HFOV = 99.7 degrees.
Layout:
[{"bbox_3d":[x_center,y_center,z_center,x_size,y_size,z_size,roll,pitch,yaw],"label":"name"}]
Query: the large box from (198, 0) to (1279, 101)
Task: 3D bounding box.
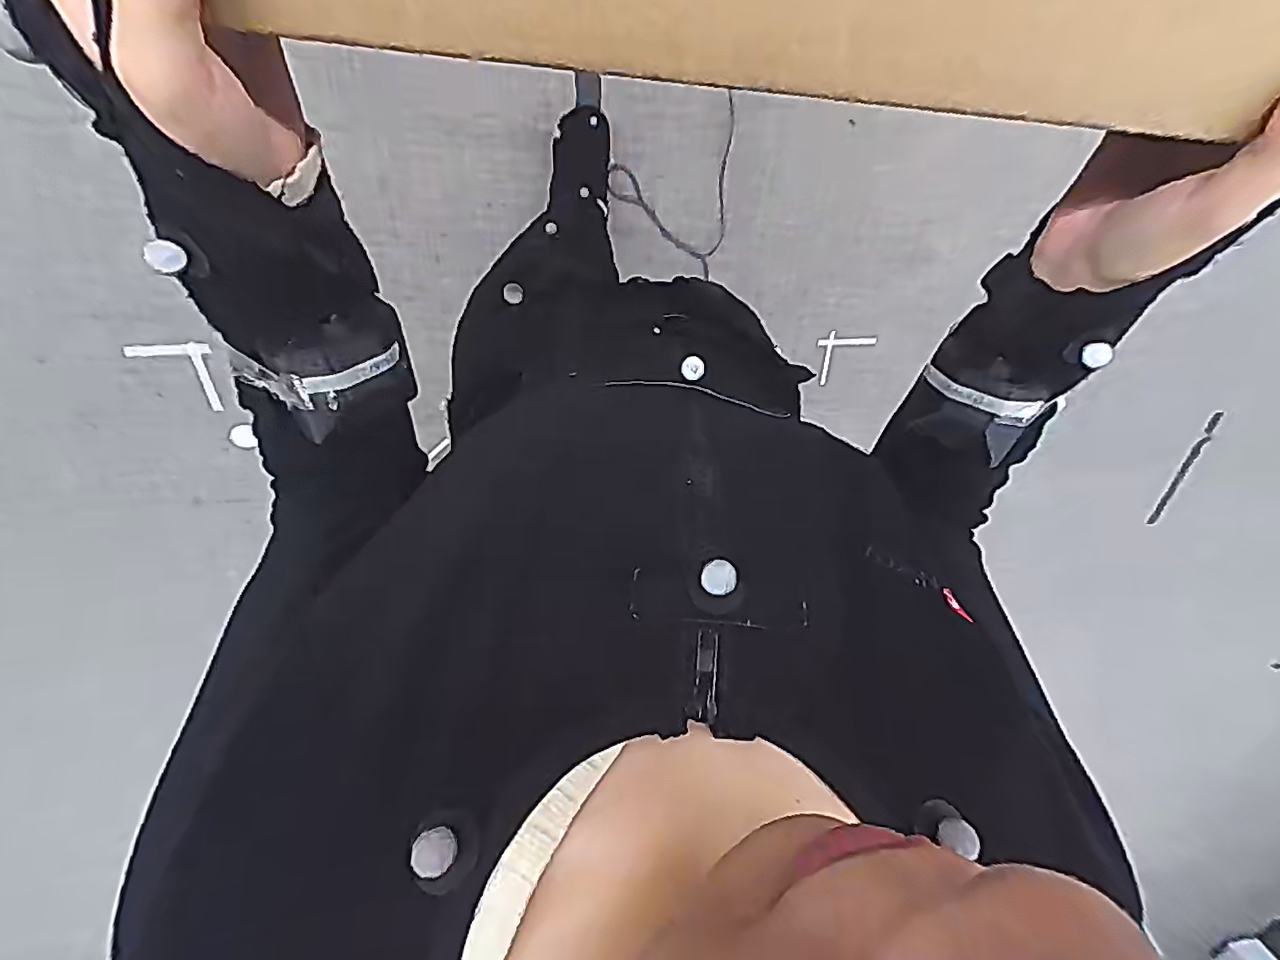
[{"bbox_3d":[0.061,-0.351,0.147,0.408,0.320,0.320,1,145,-6],"label":"large box"}]
